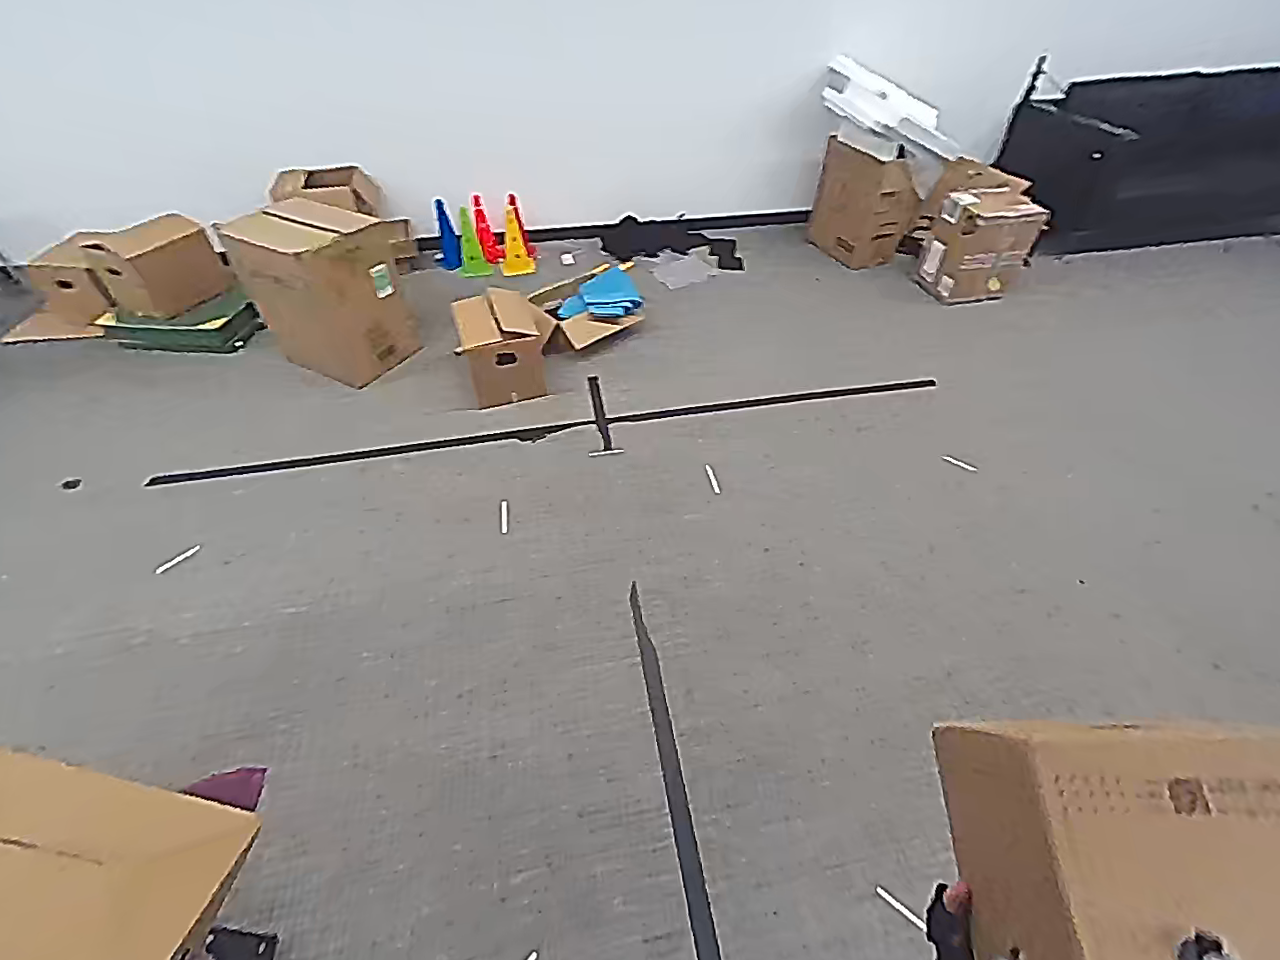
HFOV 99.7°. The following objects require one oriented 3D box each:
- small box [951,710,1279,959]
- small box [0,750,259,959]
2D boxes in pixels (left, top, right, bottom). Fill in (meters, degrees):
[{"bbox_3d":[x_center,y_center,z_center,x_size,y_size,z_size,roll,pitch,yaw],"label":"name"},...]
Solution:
[{"bbox_3d":[0.292,0.221,0.291,0.168,0.179,0.176,-5,68,11],"label":"small box"},{"bbox_3d":[-0.323,0.250,0.246,0.168,0.179,0.176,27,74,-14],"label":"small box"}]
